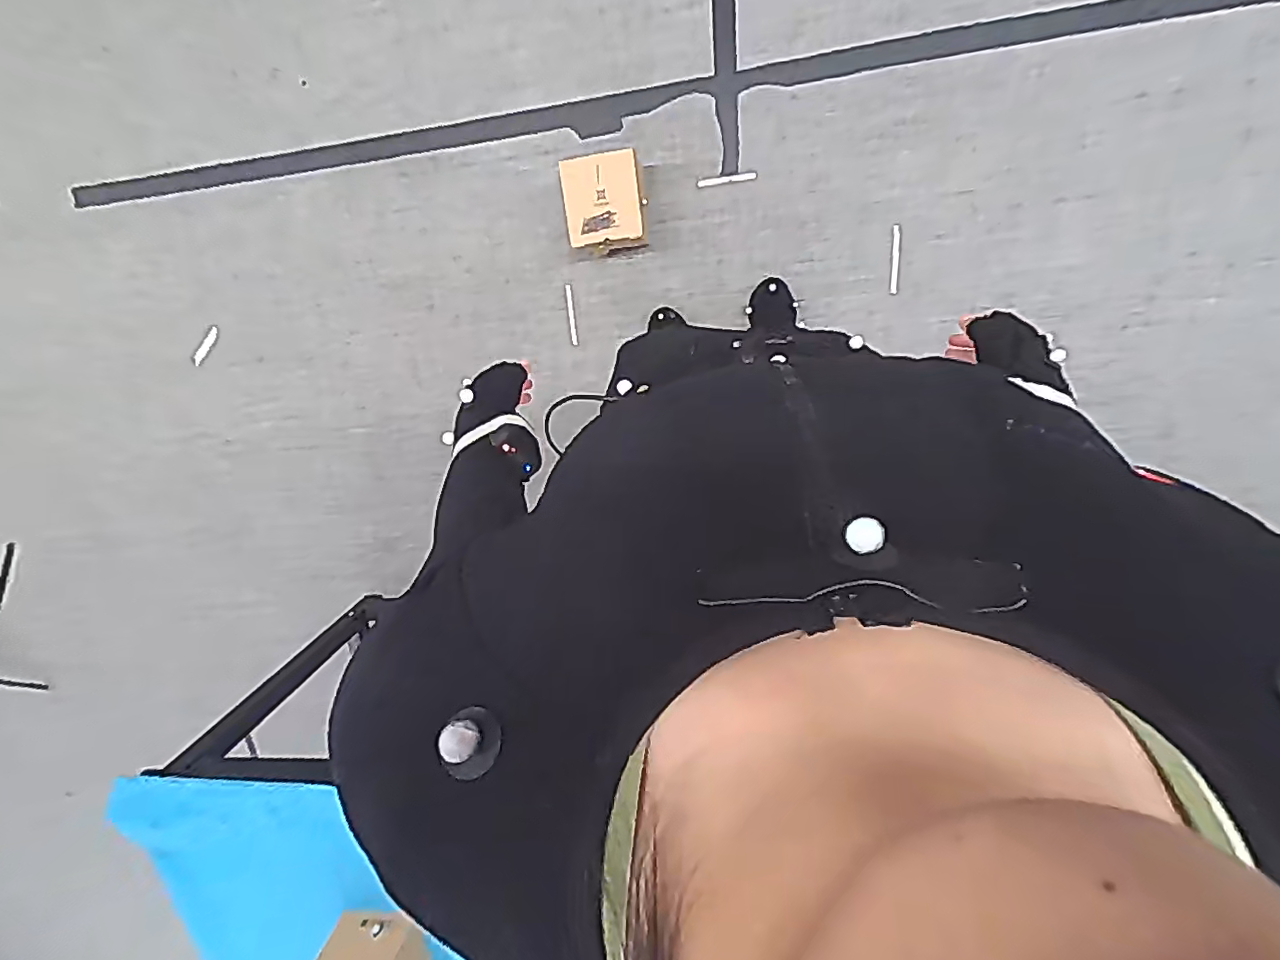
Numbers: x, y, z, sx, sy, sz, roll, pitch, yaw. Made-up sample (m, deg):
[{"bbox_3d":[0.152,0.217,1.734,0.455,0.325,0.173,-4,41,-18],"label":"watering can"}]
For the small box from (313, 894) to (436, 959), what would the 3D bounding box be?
[{"bbox_3d":[-0.538,0.989,1.095,0.168,0.176,0.179,-4,108,9],"label":"small box"}]

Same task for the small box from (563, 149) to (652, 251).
[{"bbox_3d":[-0.067,-0.635,1.251,0.168,0.176,0.179,-4,107,9],"label":"small box"}]
